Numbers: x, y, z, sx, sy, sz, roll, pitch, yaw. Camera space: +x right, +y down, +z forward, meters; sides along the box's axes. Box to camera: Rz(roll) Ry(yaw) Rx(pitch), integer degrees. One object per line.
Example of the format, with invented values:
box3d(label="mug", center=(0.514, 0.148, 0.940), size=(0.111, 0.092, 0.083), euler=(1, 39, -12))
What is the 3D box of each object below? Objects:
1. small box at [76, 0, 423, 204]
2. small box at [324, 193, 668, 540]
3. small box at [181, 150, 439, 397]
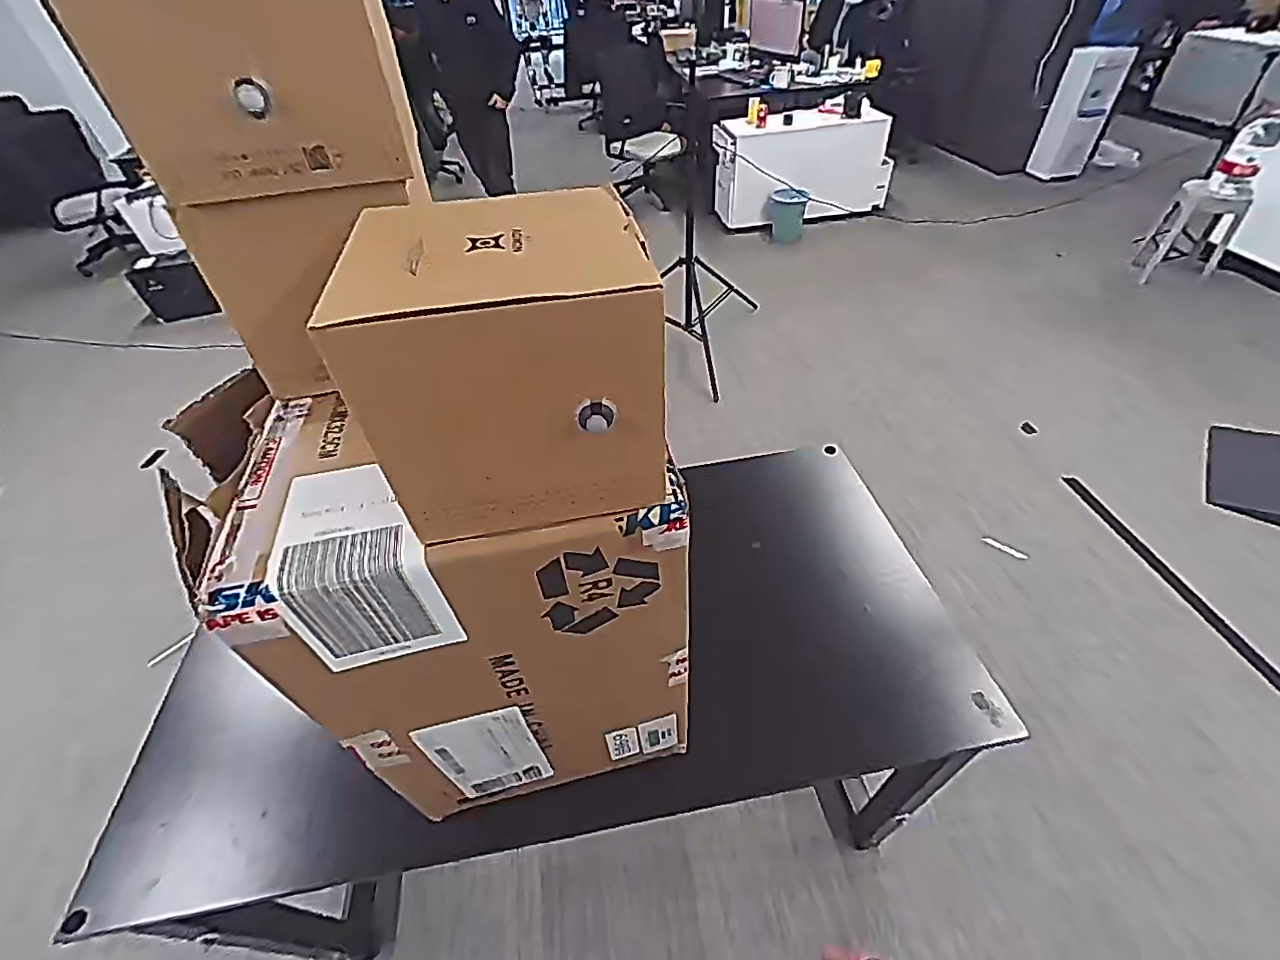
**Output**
box3d(label="small box", center=(-0.269, -0.319, 0.398), size=(0.168, 0.176, 0.179), euler=(-13, 44, -10))
box3d(label="small box", center=(-0.082, -0.080, 0.385), size=(0.179, 0.176, 0.168), euler=(-10, 45, -6))
box3d(label="small box", center=(-0.271, -0.202, 0.515), size=(0.168, 0.176, 0.179), euler=(-12, 44, -9))
